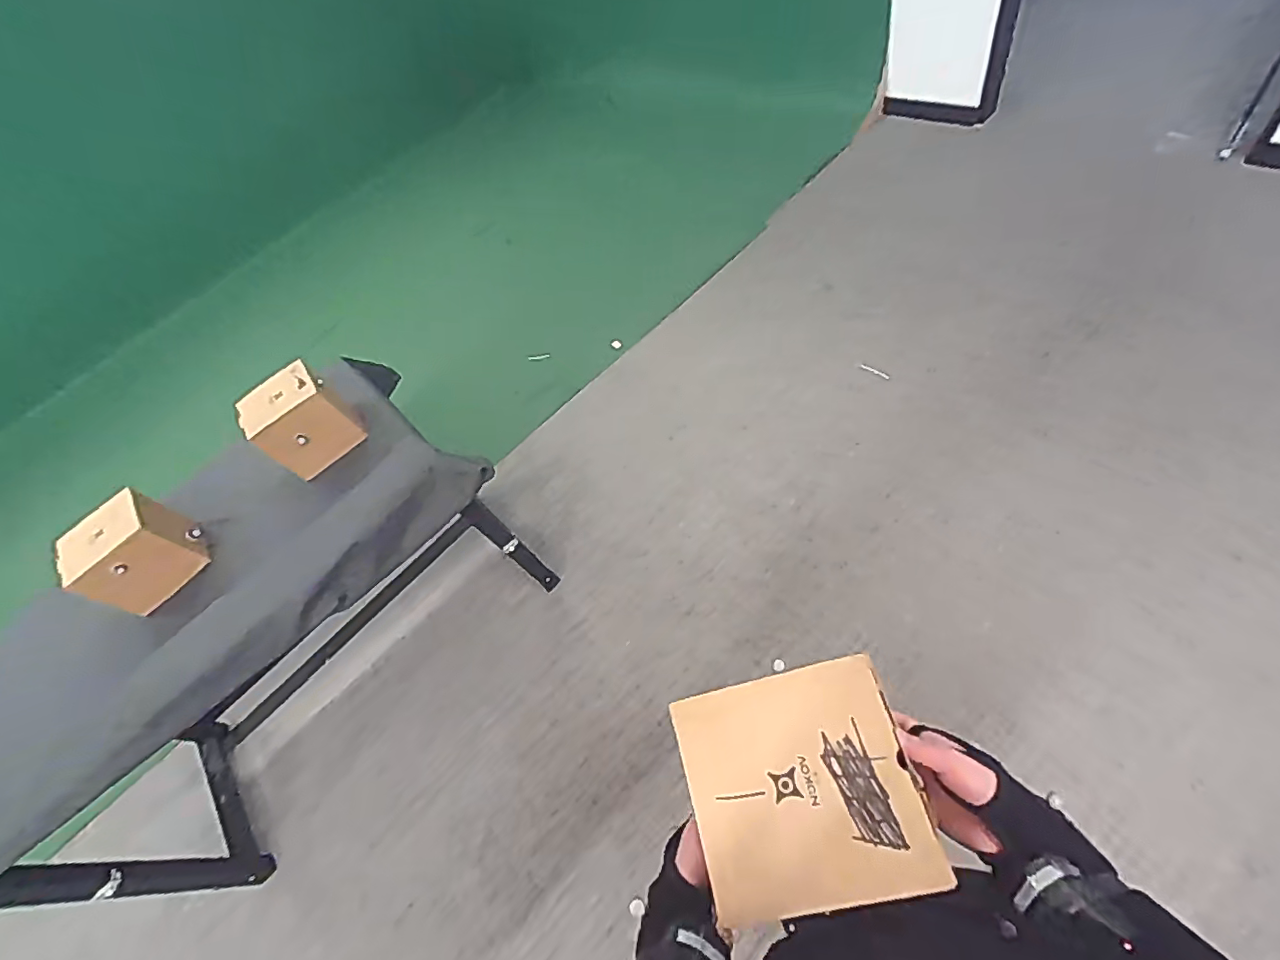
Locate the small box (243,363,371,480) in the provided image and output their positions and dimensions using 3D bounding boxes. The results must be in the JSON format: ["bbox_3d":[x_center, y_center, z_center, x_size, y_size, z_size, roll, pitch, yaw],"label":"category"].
[{"bbox_3d":[-0.776,-0.131,1.268,0.179,0.176,0.168,-40,55,-8],"label":"small box"}]

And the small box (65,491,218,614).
[{"bbox_3d":[-1.087,0.164,1.186,0.179,0.176,0.168,-44,56,-14],"label":"small box"}]
